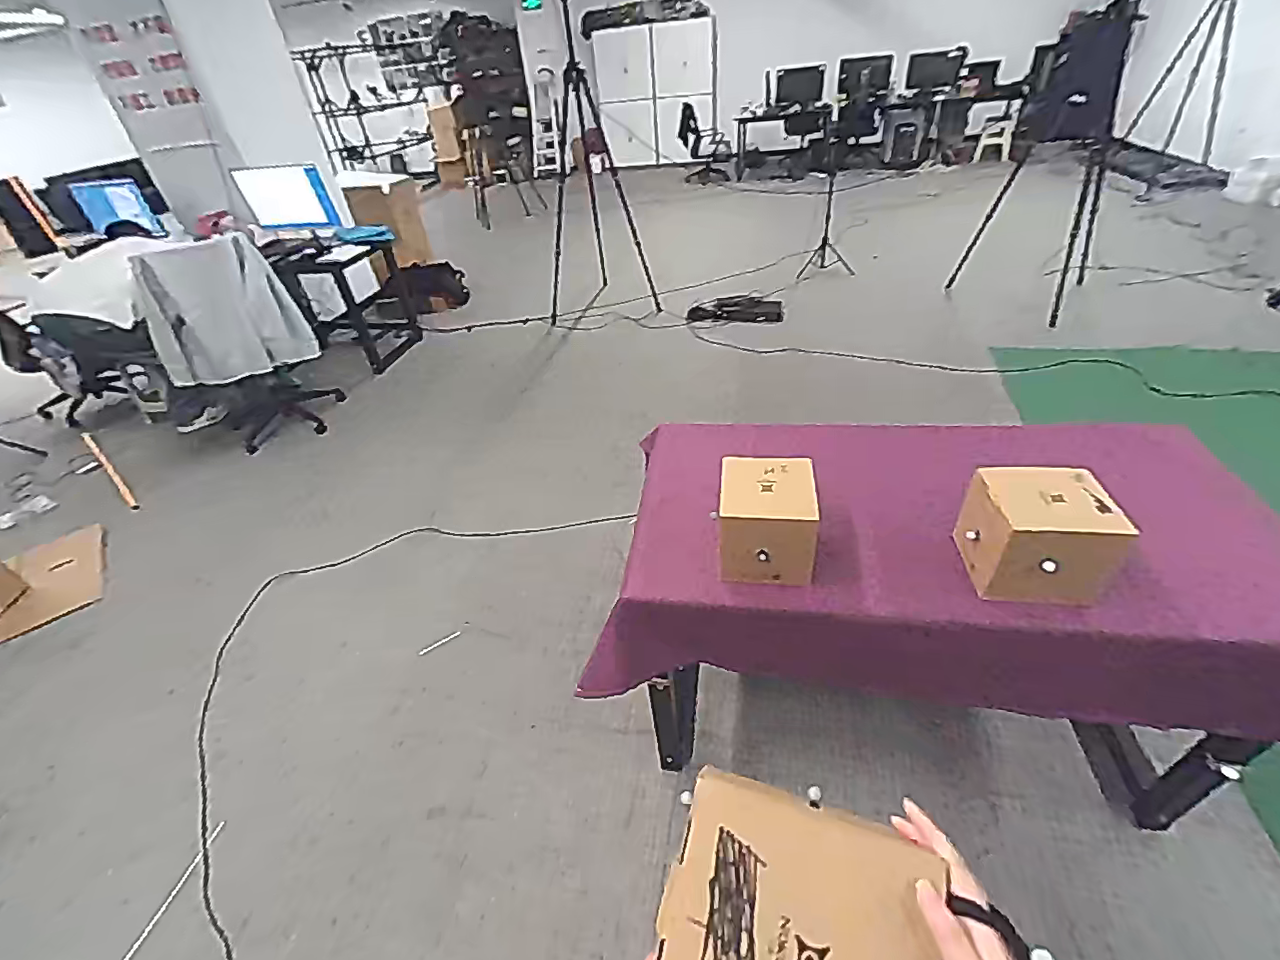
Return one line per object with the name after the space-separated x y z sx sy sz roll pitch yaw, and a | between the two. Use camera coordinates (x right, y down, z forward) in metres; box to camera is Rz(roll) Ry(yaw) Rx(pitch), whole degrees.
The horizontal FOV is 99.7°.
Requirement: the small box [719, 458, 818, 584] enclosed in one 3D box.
0.237 0.076 1.016 0.168 0.176 0.179 2 38 11 | small box

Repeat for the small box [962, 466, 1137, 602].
0.675 0.092 0.923 0.179 0.176 0.168 0 38 11 | small box
